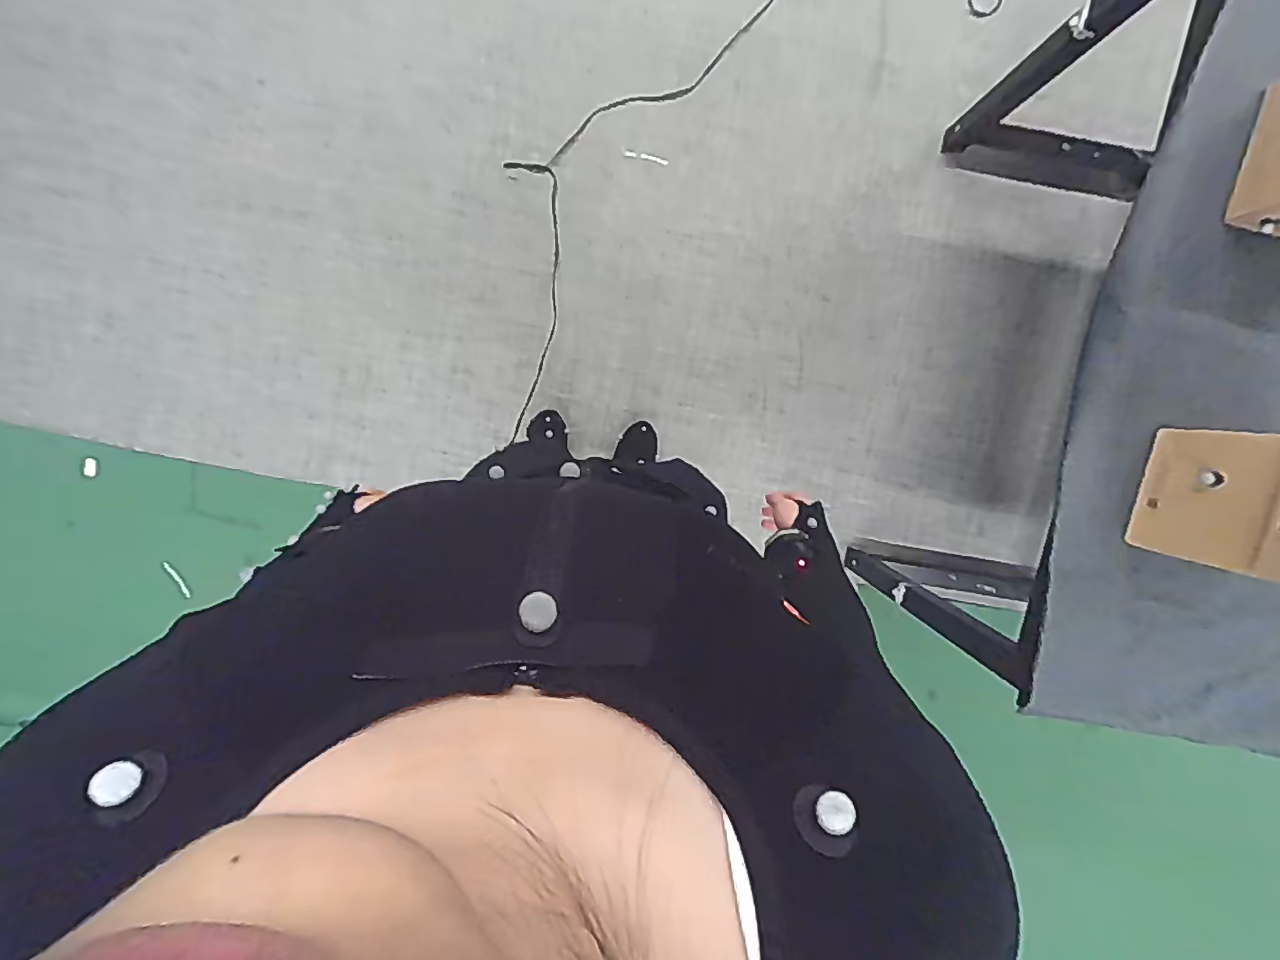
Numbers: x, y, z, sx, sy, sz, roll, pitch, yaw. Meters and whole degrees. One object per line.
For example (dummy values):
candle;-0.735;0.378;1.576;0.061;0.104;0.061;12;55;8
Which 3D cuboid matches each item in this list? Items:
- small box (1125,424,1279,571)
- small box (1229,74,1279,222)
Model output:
small box;0.786;0.025;0.689;0.179;0.176;0.168;10;97;-4
small box;0.869;-0.409;0.633;0.168;0.176;0.179;11;97;-4
